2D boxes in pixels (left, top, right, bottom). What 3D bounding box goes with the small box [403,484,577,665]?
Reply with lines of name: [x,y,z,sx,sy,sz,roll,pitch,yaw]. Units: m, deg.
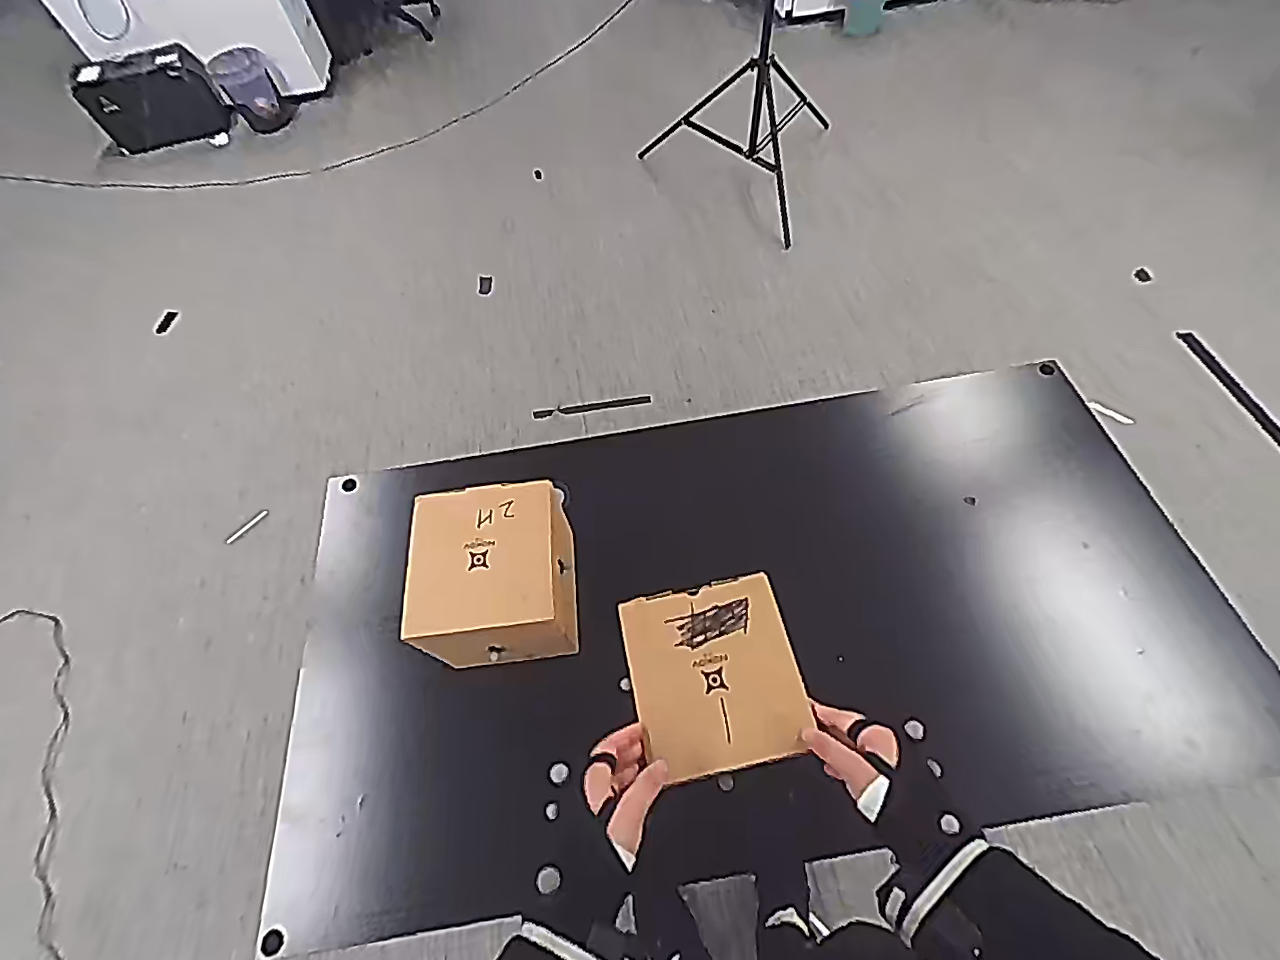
small box: [-0.177,0.128,0.688,0.168,0.176,0.179,-8,59,0]

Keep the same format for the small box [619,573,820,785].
small box: [0.076,0.229,0.608,0.168,0.176,0.179,-13,60,-2]
